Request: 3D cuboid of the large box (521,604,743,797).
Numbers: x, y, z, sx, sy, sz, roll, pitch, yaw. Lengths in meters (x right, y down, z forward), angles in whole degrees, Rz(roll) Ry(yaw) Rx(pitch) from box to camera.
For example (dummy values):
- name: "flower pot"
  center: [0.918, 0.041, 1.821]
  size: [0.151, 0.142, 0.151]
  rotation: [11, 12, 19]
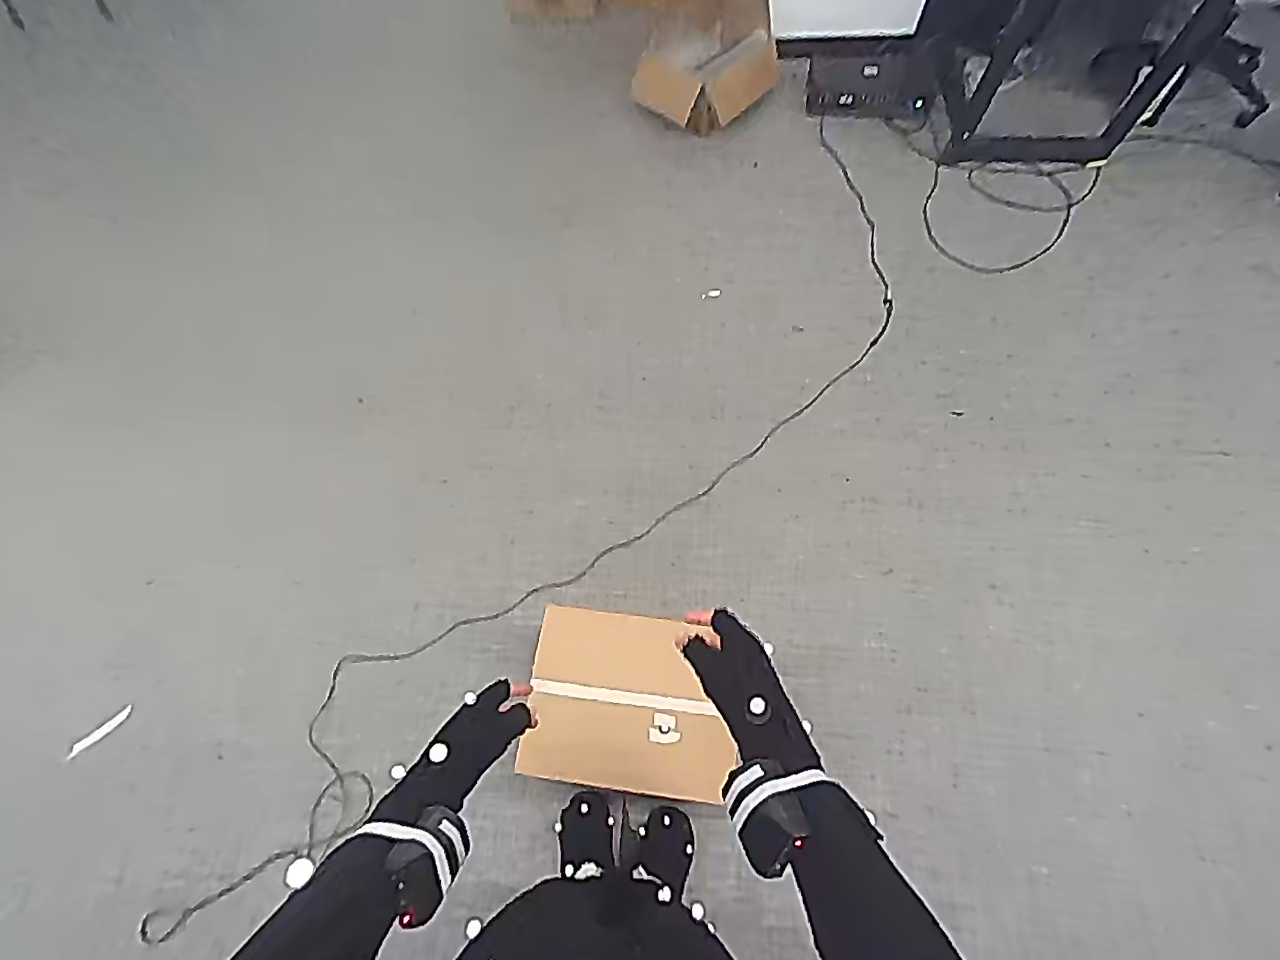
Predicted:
- name: "large box"
  center: [-0.006, 0.475, 1.176]
  size: [0.408, 0.320, 0.320]
  rotation: [6, 66, 4]
